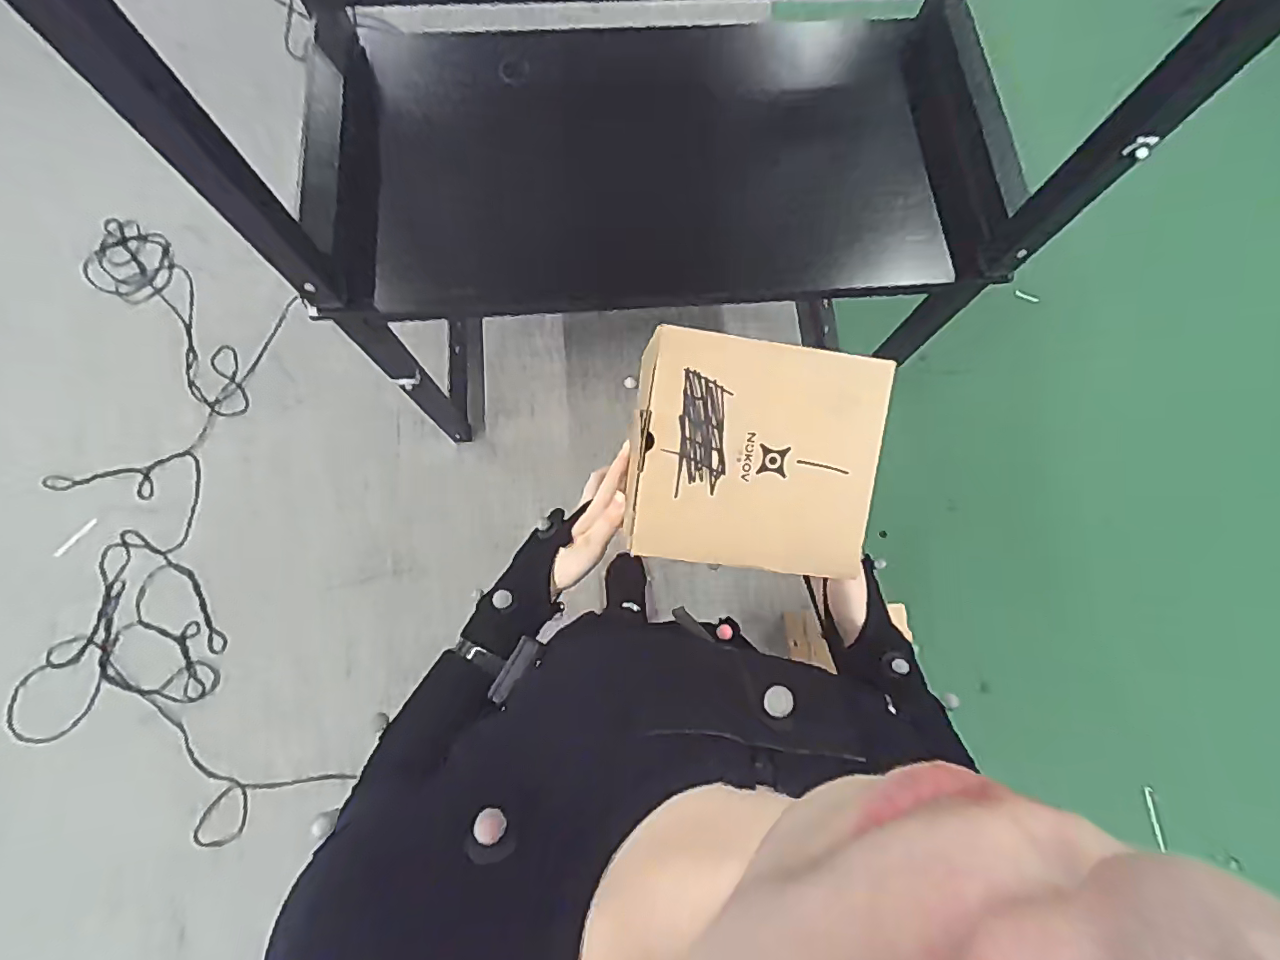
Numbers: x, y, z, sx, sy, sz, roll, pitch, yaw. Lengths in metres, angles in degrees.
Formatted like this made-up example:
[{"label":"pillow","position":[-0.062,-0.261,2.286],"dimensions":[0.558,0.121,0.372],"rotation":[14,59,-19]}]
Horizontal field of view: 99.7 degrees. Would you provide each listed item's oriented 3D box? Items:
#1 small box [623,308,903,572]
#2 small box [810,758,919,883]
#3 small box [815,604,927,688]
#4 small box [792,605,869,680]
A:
[{"label":"small box","position":[0.082,-0.033,0.454],"dimensions":[0.179,0.176,0.168],"rotation":[7,96,-4]},{"label":"small box","position":[0.470,0.711,1.151],"dimensions":[0.168,0.176,0.179],"rotation":[7,76,2]},{"label":"small box","position":[0.514,0.377,1.238],"dimensions":[0.179,0.176,0.168],"rotation":[-4,75,-3]},{"label":"small box","position":[0.503,0.417,1.395],"dimensions":[0.179,0.176,0.168],"rotation":[-5,76,-2]}]
